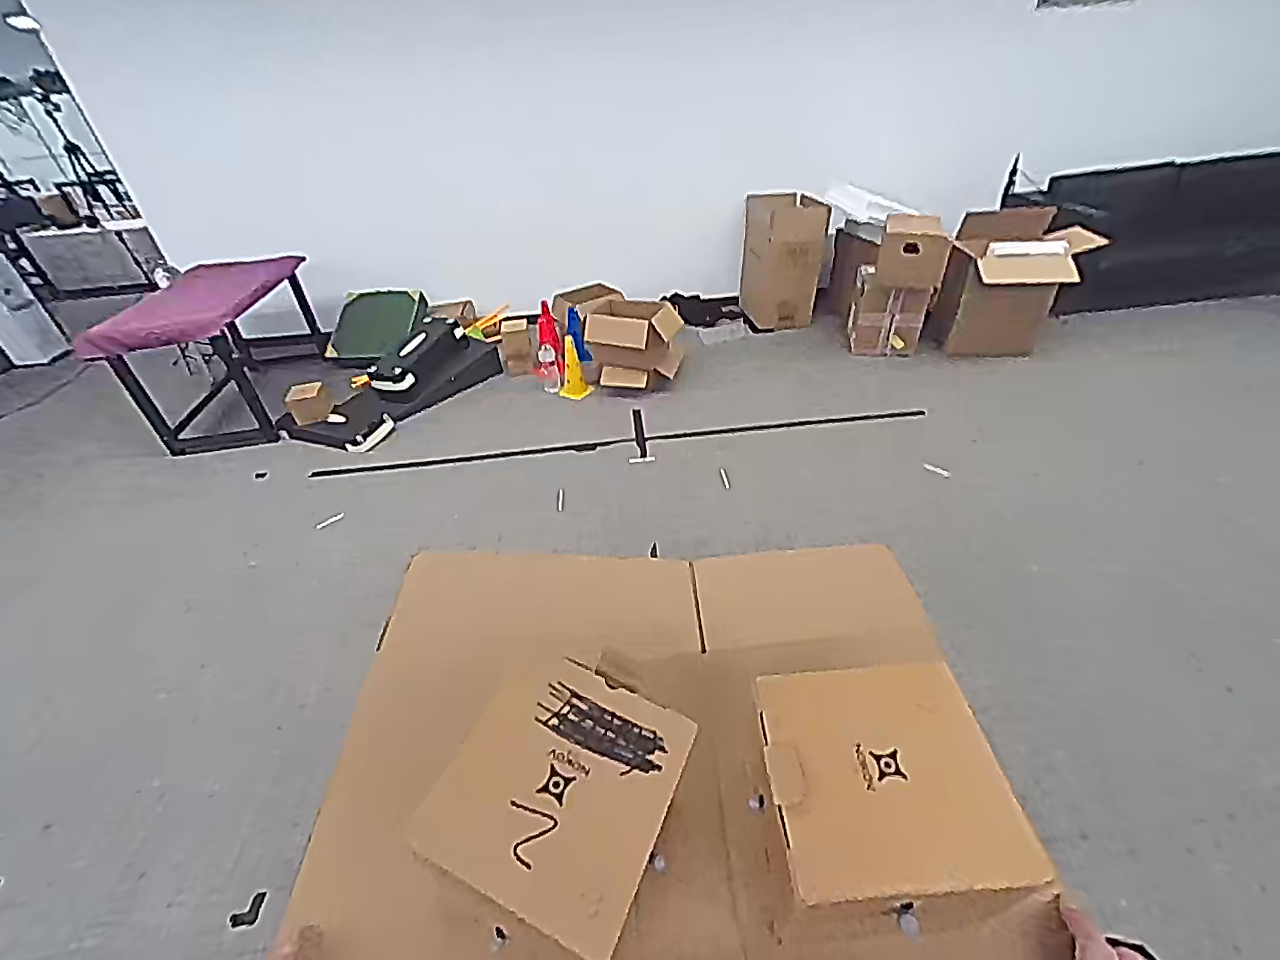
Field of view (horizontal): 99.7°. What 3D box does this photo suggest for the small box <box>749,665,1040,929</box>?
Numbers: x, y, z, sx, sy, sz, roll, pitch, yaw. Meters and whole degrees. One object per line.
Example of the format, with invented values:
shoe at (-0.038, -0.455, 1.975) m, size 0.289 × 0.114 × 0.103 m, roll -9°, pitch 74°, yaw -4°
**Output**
small box at (0.203, 0.291, 0.497) m, size 0.179 × 0.176 × 0.168 m, roll -6°, pitch 42°, yaw 2°
